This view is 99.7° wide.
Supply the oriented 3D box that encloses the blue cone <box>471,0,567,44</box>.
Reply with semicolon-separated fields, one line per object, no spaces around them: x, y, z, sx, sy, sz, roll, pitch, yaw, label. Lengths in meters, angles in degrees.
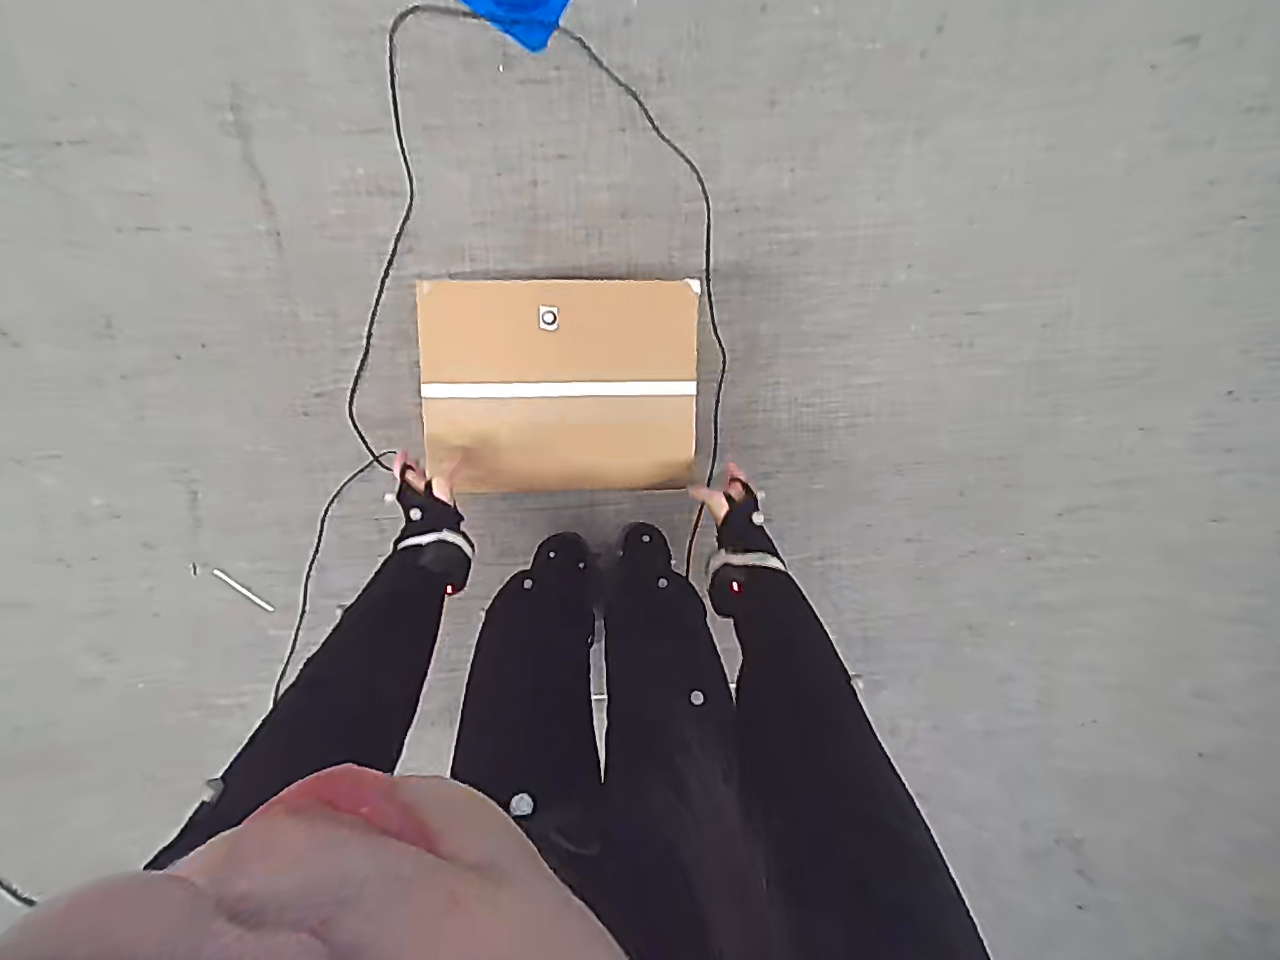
-0.197;-0.872;0.786;0.192;0.380;0.193;29;96;-8;blue cone
